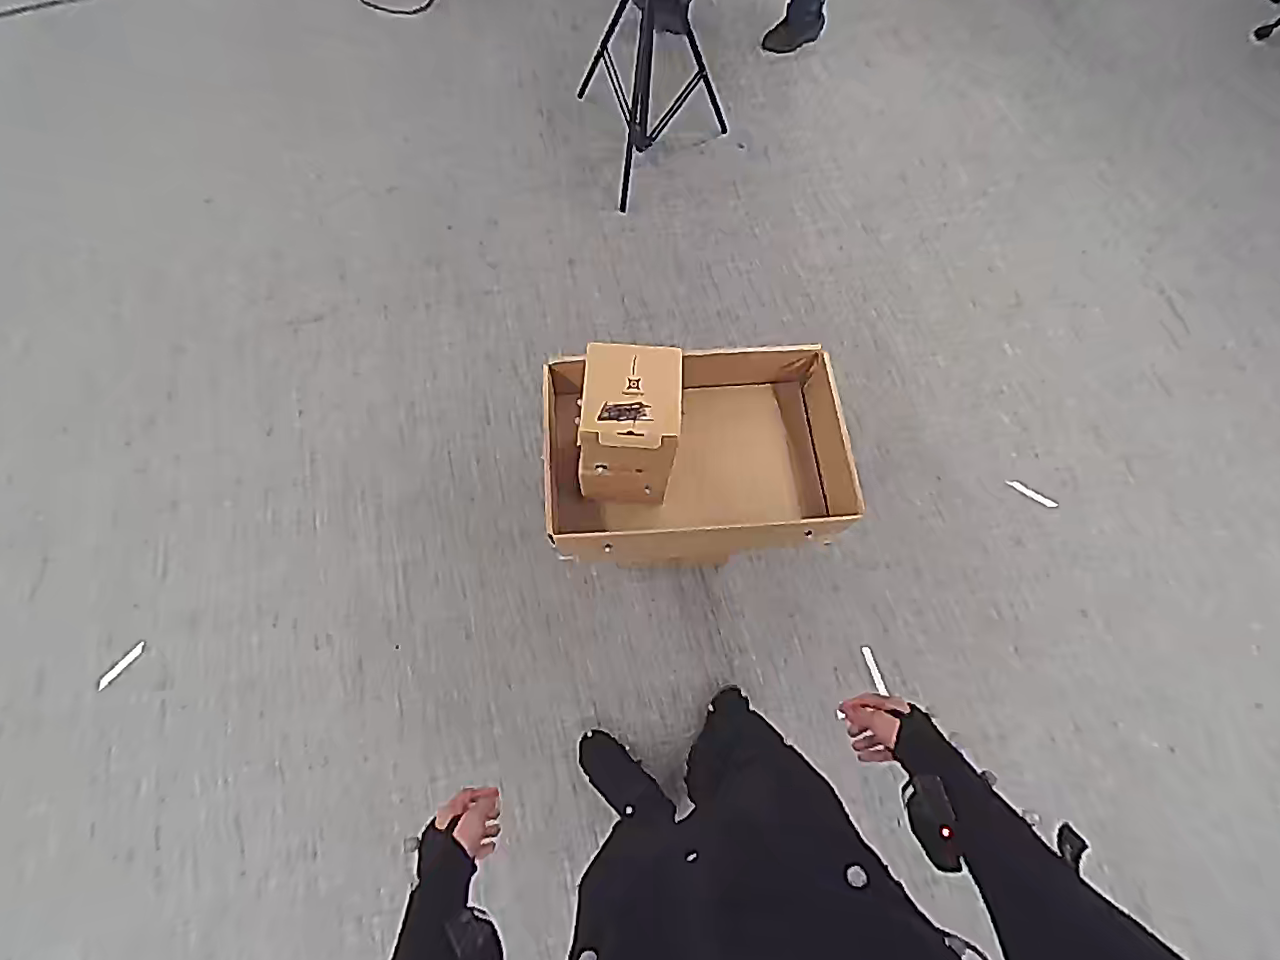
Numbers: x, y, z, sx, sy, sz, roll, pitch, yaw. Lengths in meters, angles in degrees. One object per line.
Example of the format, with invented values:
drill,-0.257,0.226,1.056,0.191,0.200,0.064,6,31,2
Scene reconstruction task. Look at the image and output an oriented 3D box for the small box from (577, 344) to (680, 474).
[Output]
small box,-0.019,-0.120,0.973,0.168,0.176,0.179,3,68,-2
